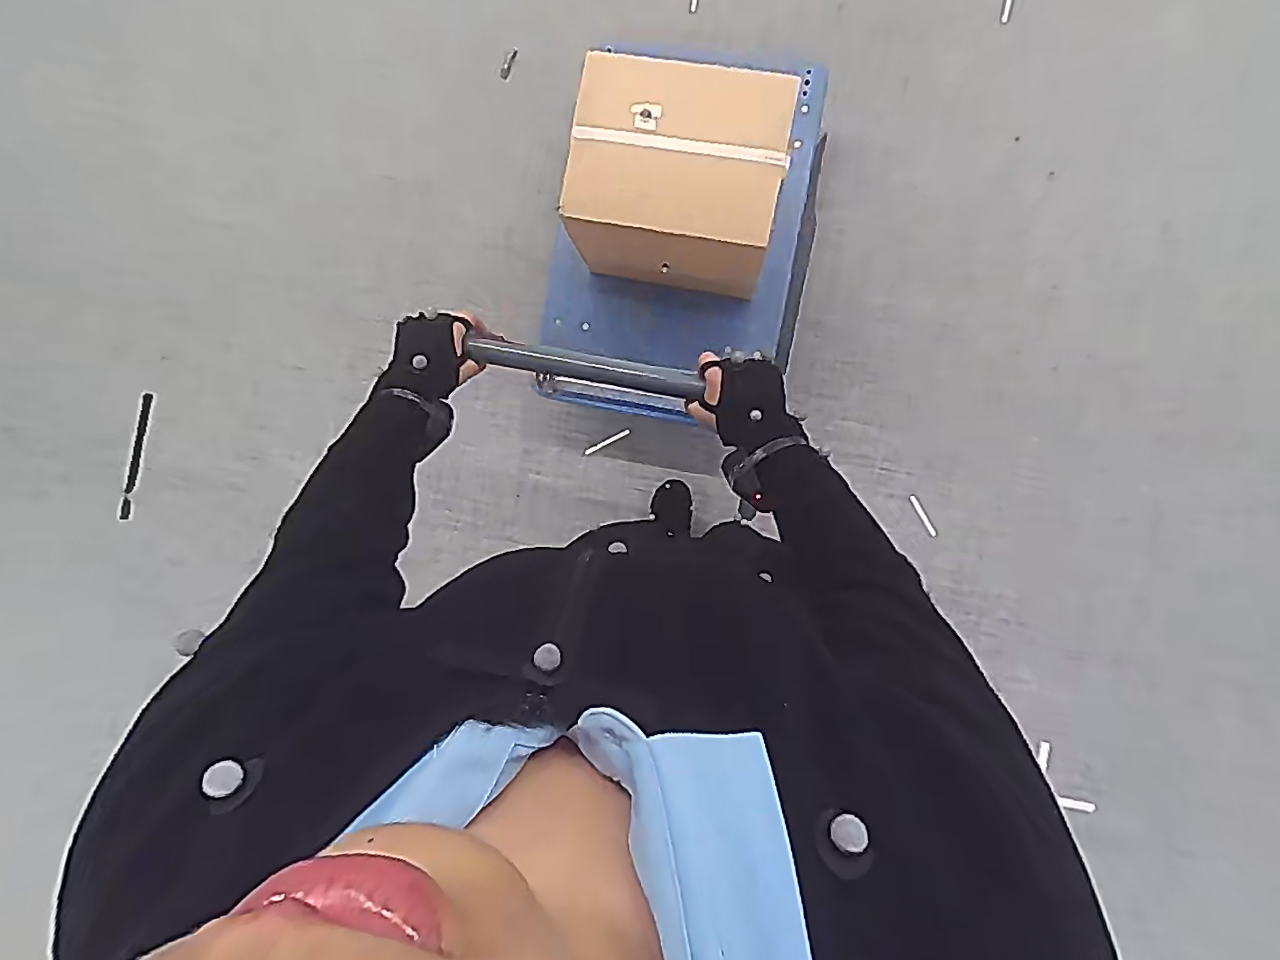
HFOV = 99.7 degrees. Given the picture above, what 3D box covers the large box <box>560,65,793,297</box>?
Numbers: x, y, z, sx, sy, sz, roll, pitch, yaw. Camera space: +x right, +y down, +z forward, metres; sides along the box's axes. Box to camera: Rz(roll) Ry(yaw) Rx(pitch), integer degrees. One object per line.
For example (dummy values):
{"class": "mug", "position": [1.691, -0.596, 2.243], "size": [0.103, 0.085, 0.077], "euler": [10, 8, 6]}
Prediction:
{"class": "large box", "position": [0.084, -0.614, 1.166], "size": [0.408, 0.320, 0.320], "euler": [12, 91, 7]}
